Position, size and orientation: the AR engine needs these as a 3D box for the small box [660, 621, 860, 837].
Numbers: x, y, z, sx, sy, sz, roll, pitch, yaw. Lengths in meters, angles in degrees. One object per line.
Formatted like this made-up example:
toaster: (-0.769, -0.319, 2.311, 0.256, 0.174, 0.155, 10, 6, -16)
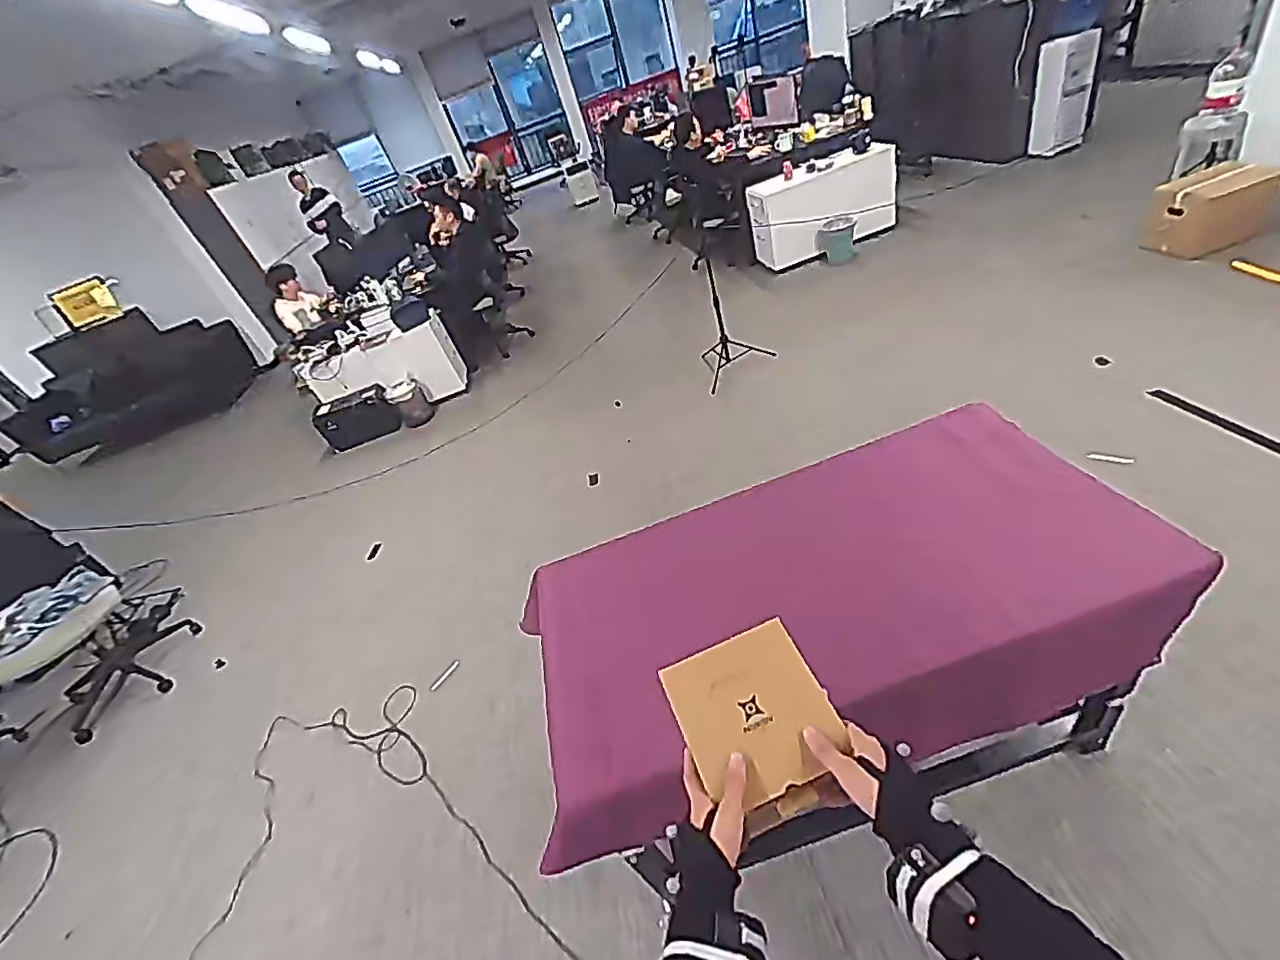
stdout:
small box: (0.141, 0.311, 0.664, 0.168, 0.176, 0.179, -22, 49, -6)
